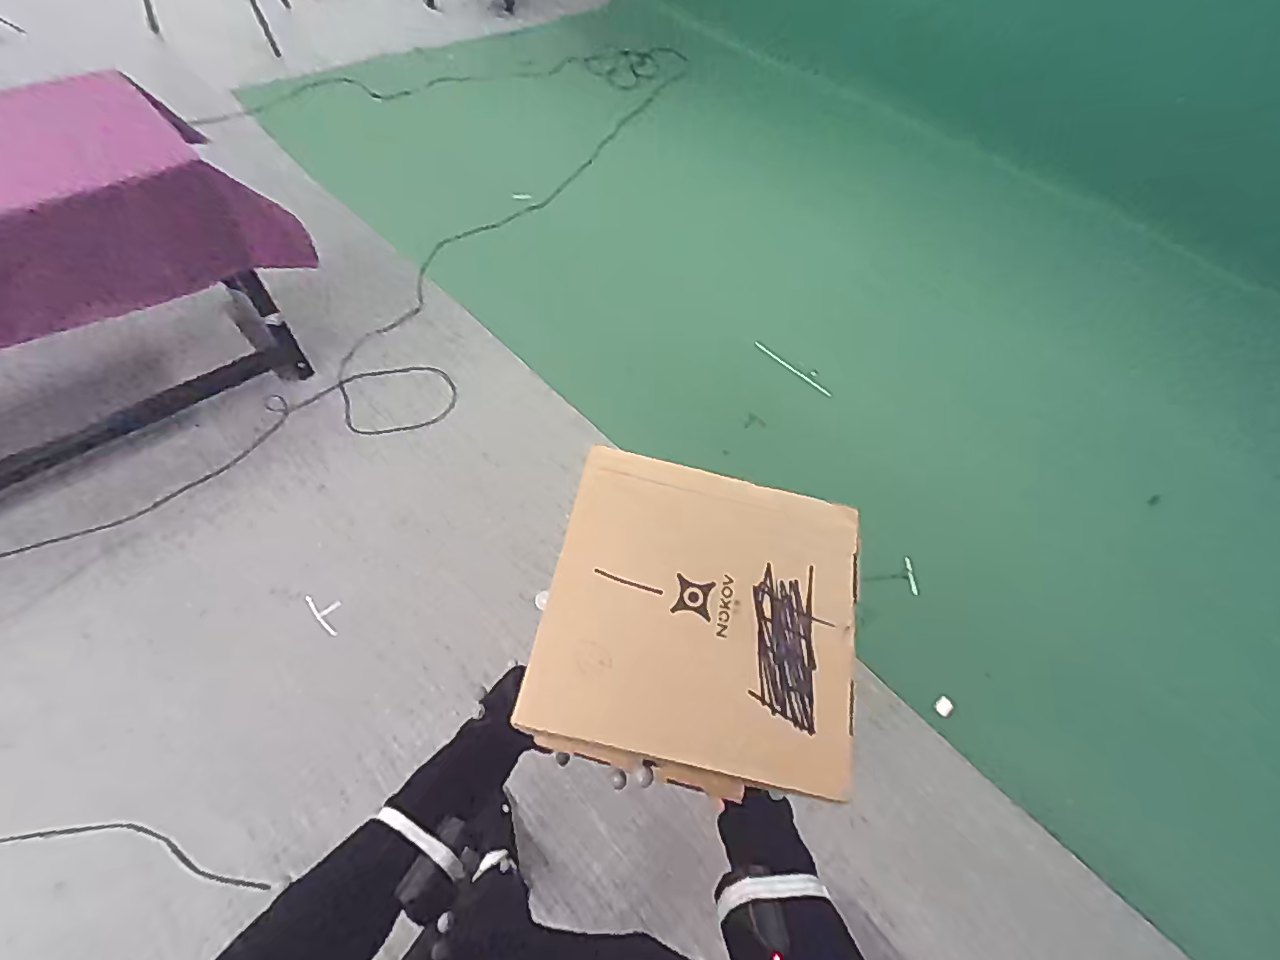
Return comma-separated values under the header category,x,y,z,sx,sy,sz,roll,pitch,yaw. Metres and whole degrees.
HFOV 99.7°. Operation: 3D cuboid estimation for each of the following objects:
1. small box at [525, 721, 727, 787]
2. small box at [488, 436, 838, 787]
category,x,y,z,sx,sy,sz,roll,pitch,yaw
small box,-0.003,0.173,0.521,0.168,0.176,0.179,16,63,0
small box,0.015,0.097,0.376,0.179,0.176,0.168,14,63,-1
